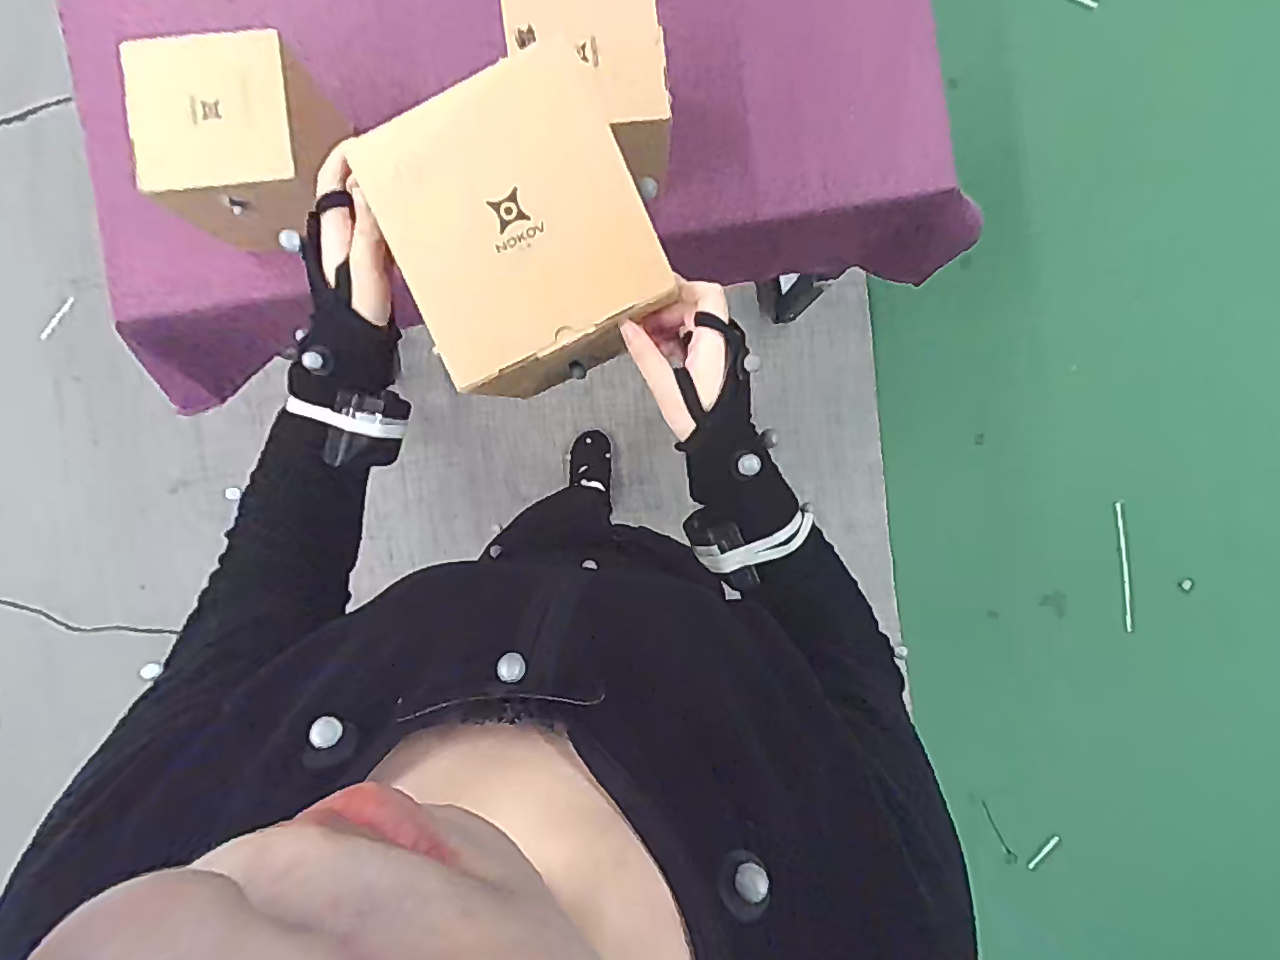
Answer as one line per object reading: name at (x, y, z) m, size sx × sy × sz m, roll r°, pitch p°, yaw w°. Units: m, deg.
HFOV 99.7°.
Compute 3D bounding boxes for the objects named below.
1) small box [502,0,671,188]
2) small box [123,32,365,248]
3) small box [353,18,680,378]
small box at (-0.063, -0.476, 0.684) m, size 0.179 × 0.176 × 0.168 m, roll -7°, pitch 91°, yaw -1°
small box at (-0.478, -0.407, 0.678) m, size 0.179 × 0.176 × 0.168 m, roll -6°, pitch 92°, yaw -1°
small box at (-0.080, -0.195, 0.435) m, size 0.168 × 0.176 × 0.179 m, roll -24°, pitch 97°, yaw 5°
